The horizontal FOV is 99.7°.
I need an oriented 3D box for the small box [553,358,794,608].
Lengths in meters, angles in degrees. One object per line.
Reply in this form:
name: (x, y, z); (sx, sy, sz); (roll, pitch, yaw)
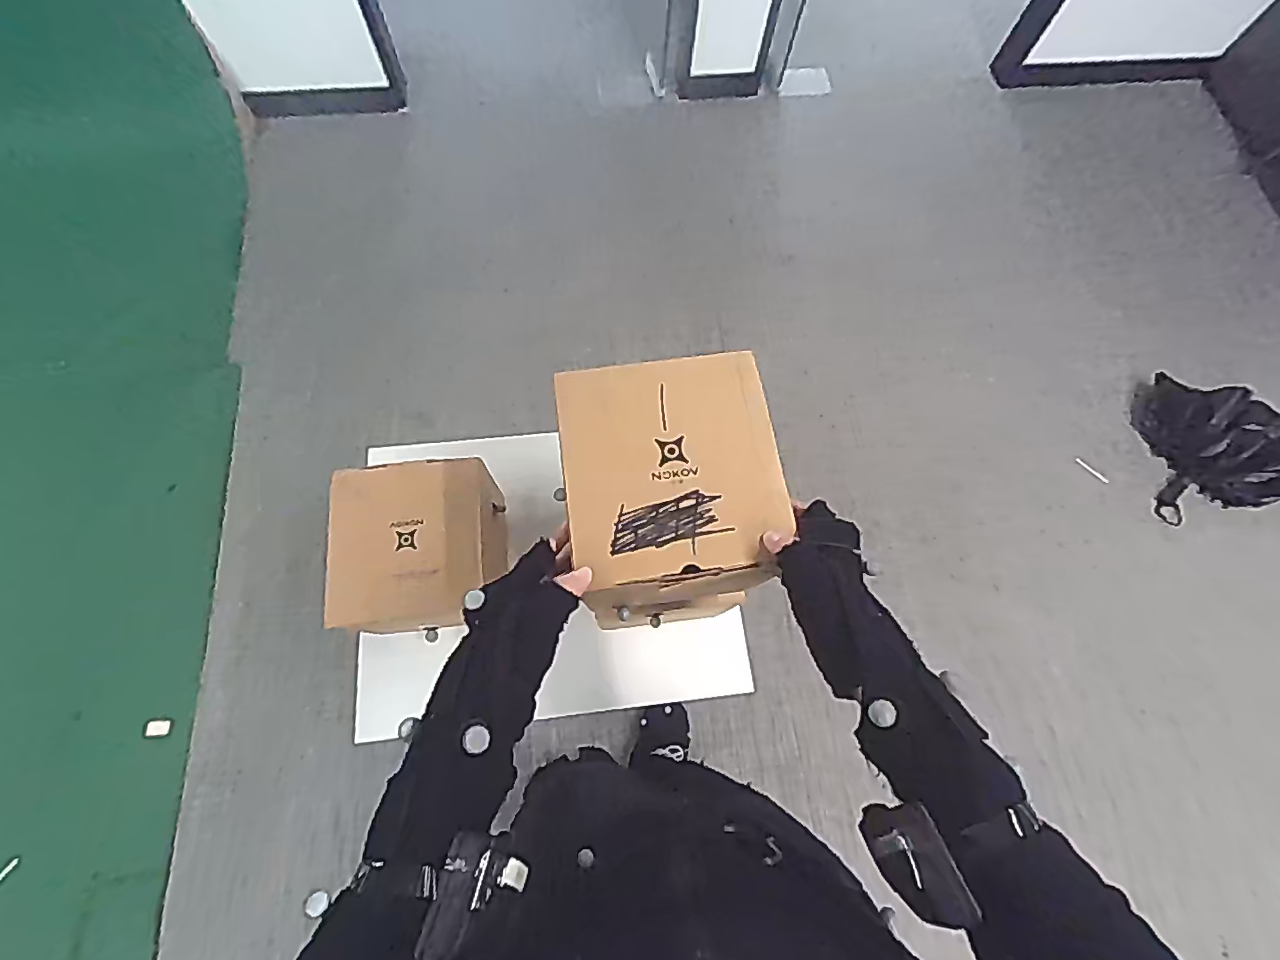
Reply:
small box: (0.022, 0.016, 0.491); (0.168, 0.176, 0.179); (-8, 71, -3)

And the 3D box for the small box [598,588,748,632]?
small box: (0.024, 0.088, 0.685); (0.168, 0.176, 0.179); (-7, 71, -3)

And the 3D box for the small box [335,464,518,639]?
small box: (-0.253, 0.096, 0.674); (0.168, 0.176, 0.179); (-8, 73, -4)
